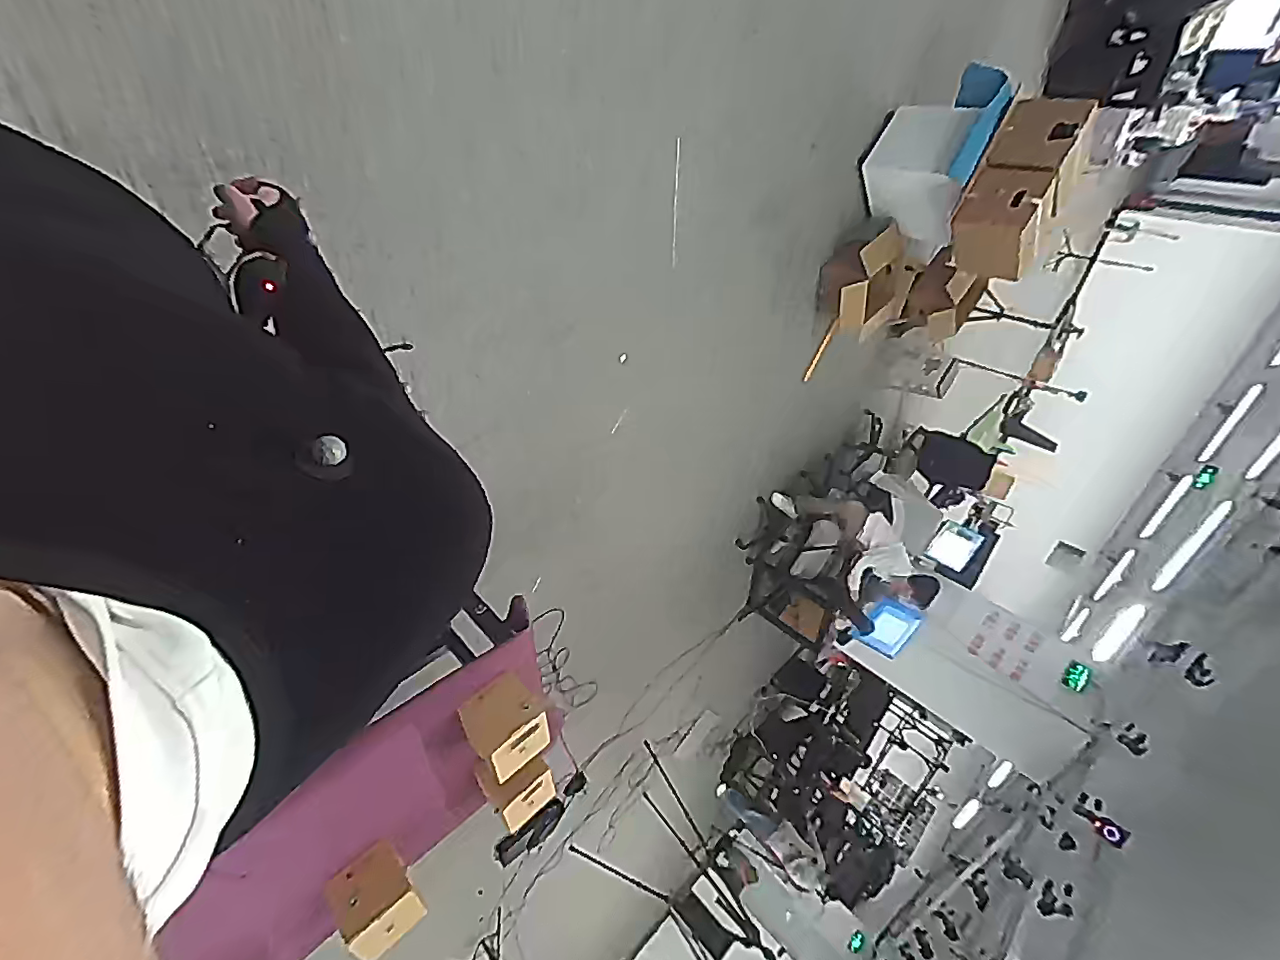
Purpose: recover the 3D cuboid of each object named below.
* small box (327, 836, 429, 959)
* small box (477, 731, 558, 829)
[{"bbox_3d":[-0.681,1.078,1.408,0.168,0.176,0.179,-29,136,-33],"label":"small box"},{"bbox_3d":[-0.373,0.899,1.637,0.168,0.176,0.179,-30,137,-32],"label":"small box"}]
